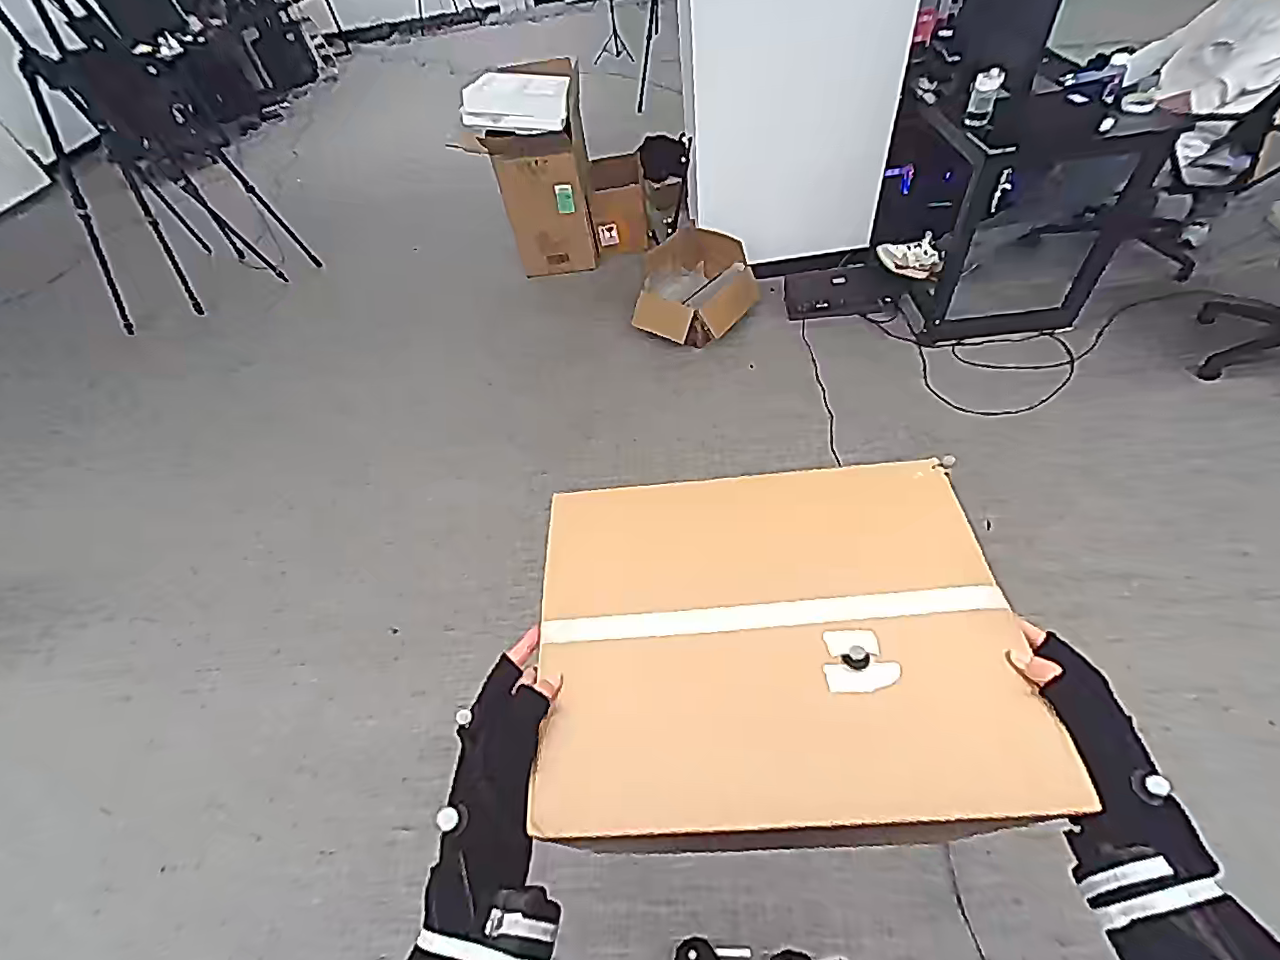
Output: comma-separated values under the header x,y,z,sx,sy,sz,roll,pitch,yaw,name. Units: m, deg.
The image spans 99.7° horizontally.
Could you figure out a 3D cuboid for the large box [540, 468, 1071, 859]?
x,y,z,sx,sy,sz,roll,pitch,yaw,name
0.127,0.218,0.609,0.408,0.320,0.320,-6,52,4,large box
